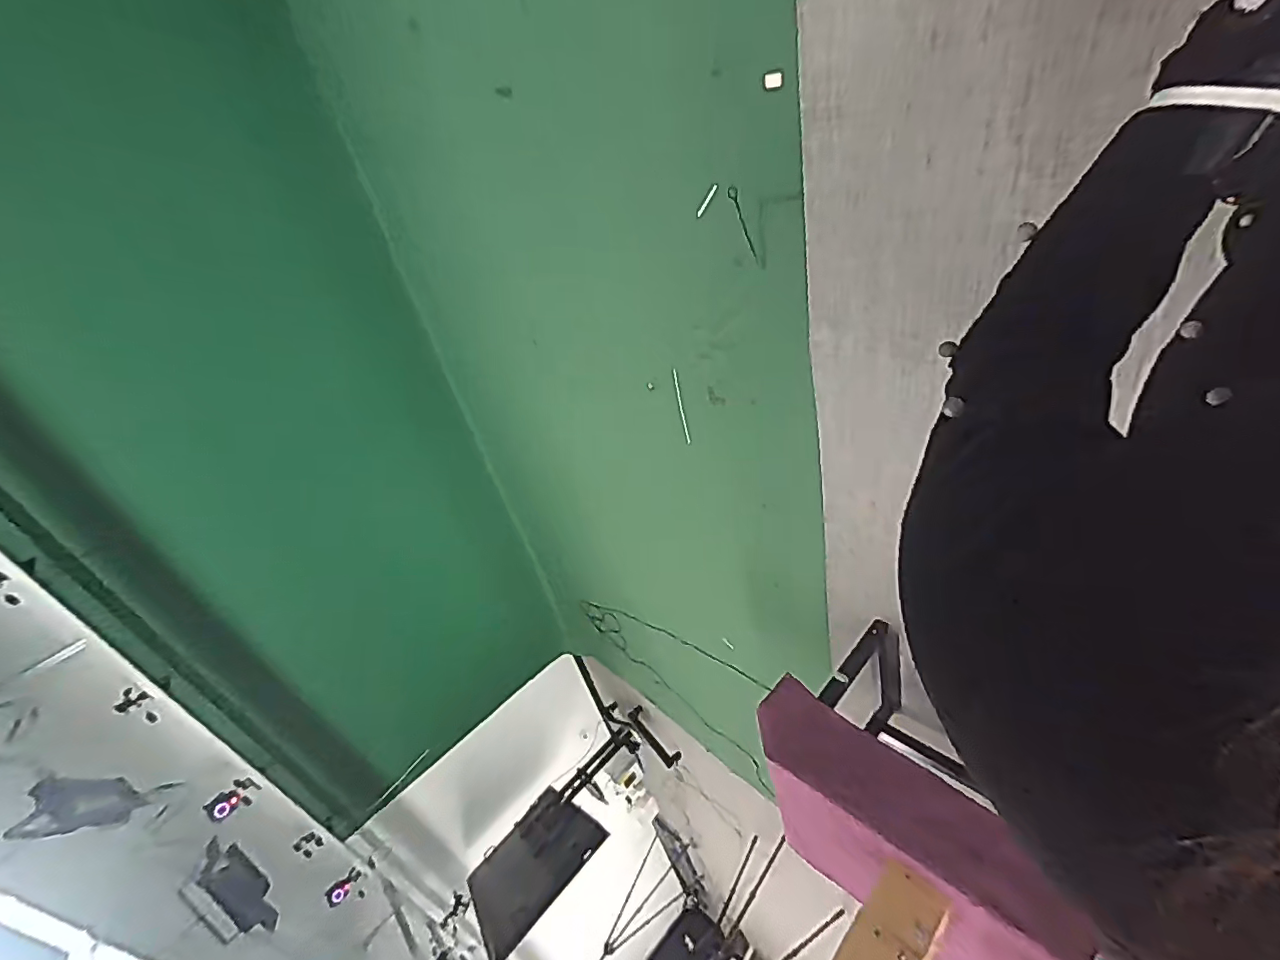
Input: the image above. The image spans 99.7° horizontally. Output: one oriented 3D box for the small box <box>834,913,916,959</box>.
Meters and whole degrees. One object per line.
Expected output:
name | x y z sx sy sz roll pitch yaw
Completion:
small box | 0.611 1.281 1.396 0.168 0.176 0.179 18 137 46
